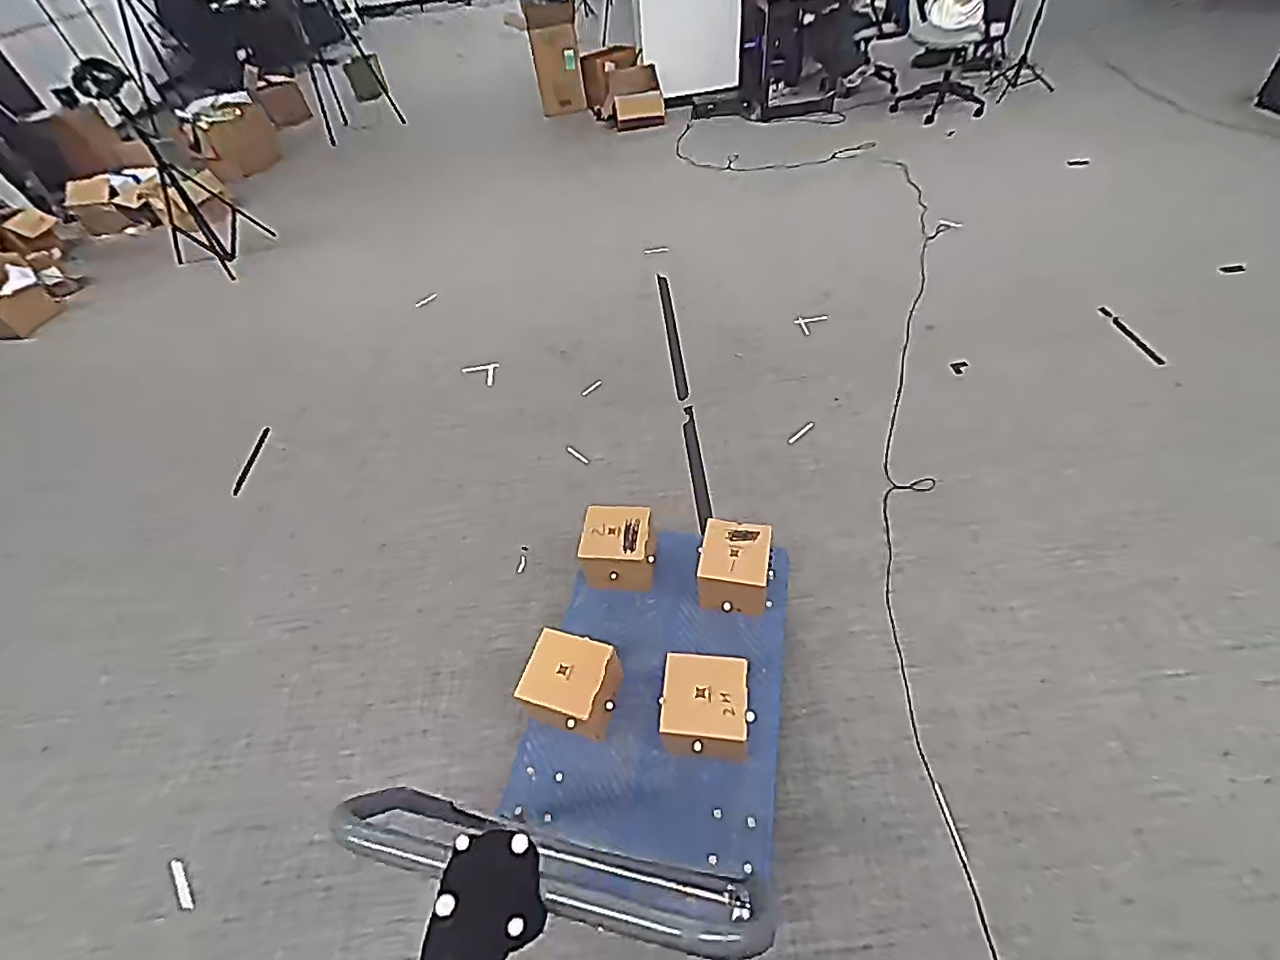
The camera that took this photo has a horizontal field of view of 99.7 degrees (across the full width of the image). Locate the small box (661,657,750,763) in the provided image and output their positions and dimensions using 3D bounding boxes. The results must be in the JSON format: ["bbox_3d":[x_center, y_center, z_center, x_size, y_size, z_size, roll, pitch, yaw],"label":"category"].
[{"bbox_3d":[0.148,0.501,1.176,0.179,0.176,0.168,1,50,10],"label":"small box"}]

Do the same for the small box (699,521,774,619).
[{"bbox_3d":[0.248,0.231,1.391,0.168,0.176,0.179,6,52,14],"label":"small box"}]

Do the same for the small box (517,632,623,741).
[{"bbox_3d":[-0.151,0.478,1.243,0.179,0.176,0.168,10,52,15],"label":"small box"}]
